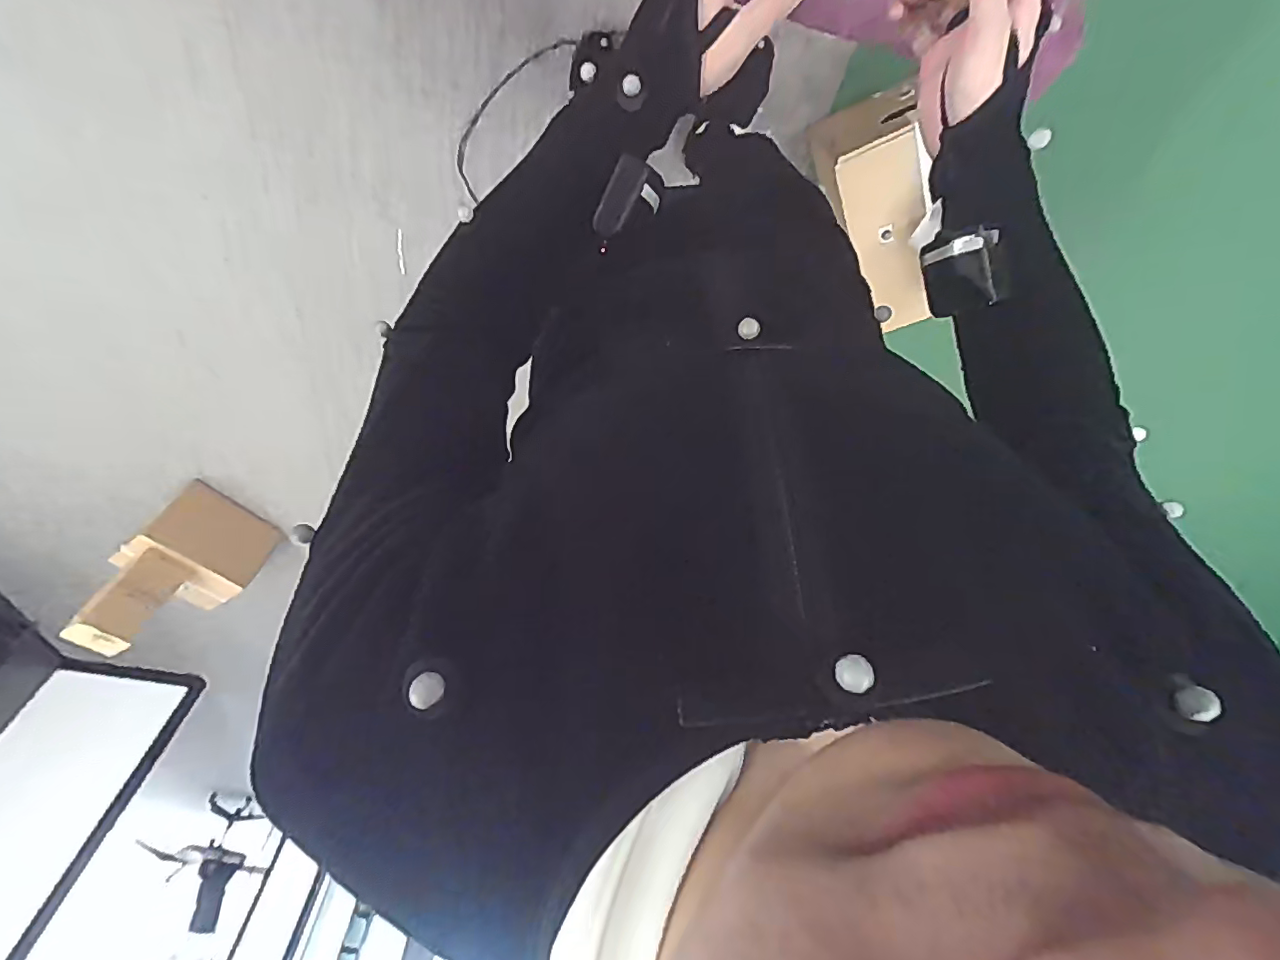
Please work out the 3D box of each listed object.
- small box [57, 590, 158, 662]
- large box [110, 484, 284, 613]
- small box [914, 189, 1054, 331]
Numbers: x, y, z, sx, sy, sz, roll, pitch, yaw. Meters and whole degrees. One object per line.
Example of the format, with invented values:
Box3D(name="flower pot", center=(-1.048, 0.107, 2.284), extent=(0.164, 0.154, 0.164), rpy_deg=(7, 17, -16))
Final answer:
Box3D(name="small box", center=(-1.856, 0.508, 1.896), extent=(0.179, 0.176, 0.168), rpy_deg=(-23, 127, 25))
Box3D(name="large box", center=(-1.822, 0.289, 2.251), extent=(0.320, 0.320, 0.408), rpy_deg=(-24, 128, 26))
Box3D(name="small box", center=(0.653, -0.429, 1.038), extent=(0.168, 0.176, 0.179), rpy_deg=(-24, 127, 23))
